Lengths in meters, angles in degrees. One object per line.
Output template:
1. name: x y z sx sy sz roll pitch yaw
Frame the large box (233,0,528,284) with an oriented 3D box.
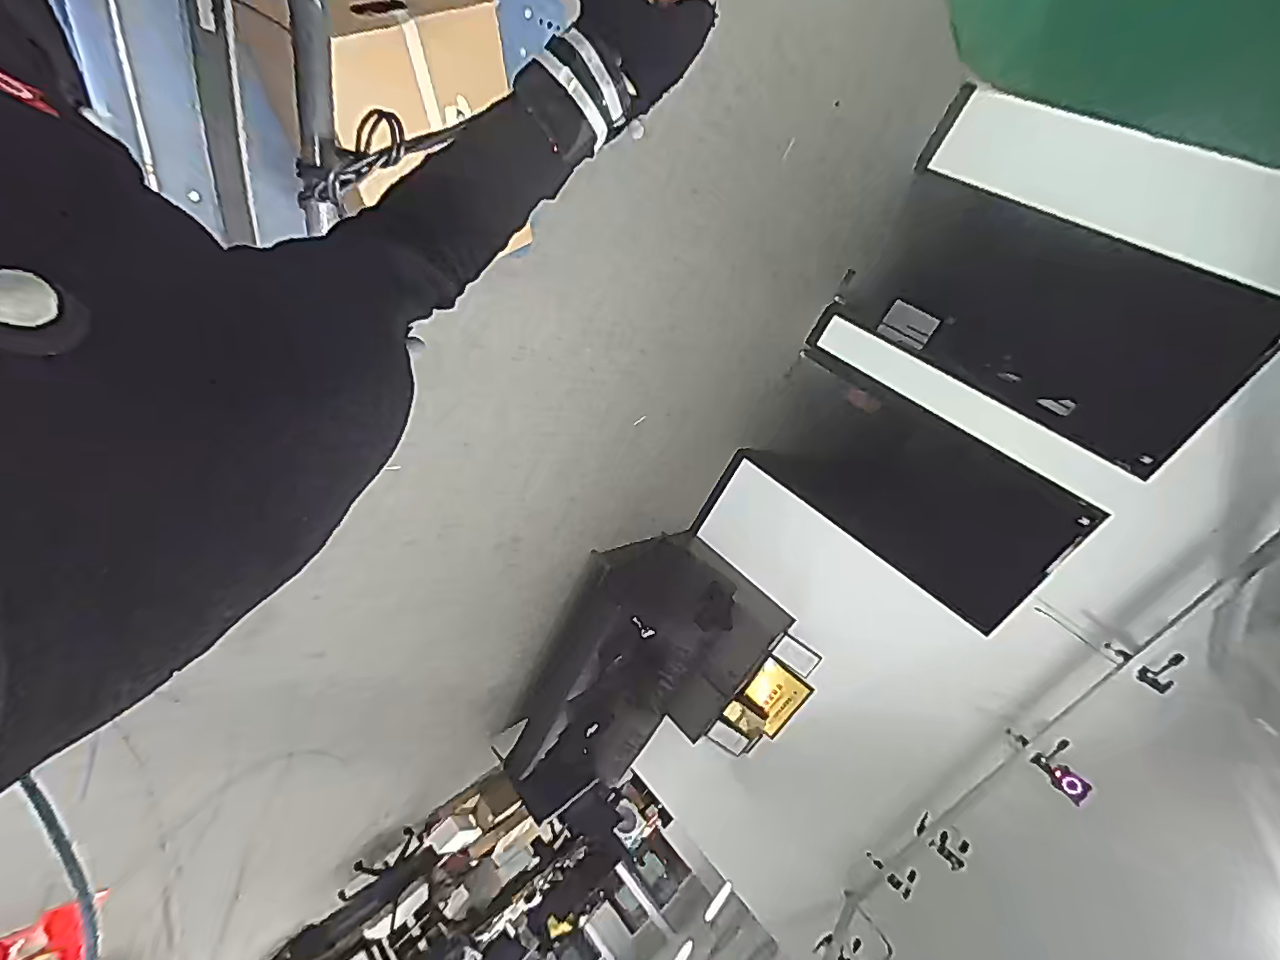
1. large box: -0.455 -0.663 1.020 0.320 0.320 0.408 -36 151 -25
